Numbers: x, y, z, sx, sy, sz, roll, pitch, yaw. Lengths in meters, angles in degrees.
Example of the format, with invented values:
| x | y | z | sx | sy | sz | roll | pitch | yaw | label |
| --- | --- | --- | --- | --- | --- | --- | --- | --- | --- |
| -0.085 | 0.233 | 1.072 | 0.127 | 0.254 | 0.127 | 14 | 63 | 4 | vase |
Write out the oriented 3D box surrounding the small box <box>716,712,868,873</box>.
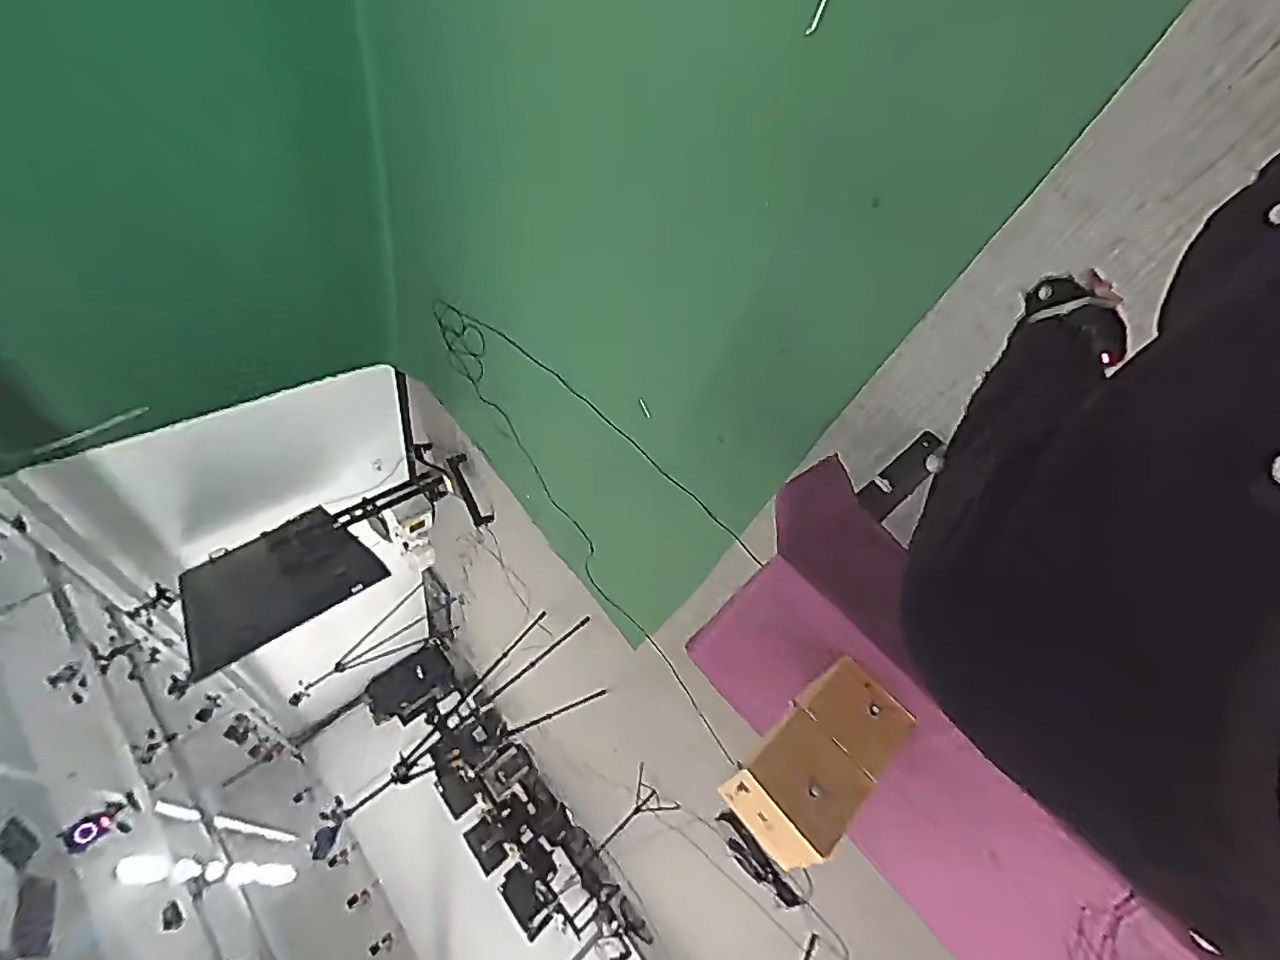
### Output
| x | y | z | sx | sy | sz | roll | pitch | yaw | label |
| --- | --- | --- | --- | --- | --- | --- | --- | --- | --- |
| 0.276 | 0.564 | 0.984 | 0.179 | 0.176 | 0.168 | 44 | 142 | 21 | small box |

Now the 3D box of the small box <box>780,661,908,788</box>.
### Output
| x | y | z | sx | sy | sz | roll | pitch | yaw | label |
| --- | --- | --- | --- | --- | --- | --- | --- | --- | --- |
| 0.395 | 0.499 | 1.078 | 0.168 | 0.176 | 0.179 | 45 | 142 | 22 | small box |
